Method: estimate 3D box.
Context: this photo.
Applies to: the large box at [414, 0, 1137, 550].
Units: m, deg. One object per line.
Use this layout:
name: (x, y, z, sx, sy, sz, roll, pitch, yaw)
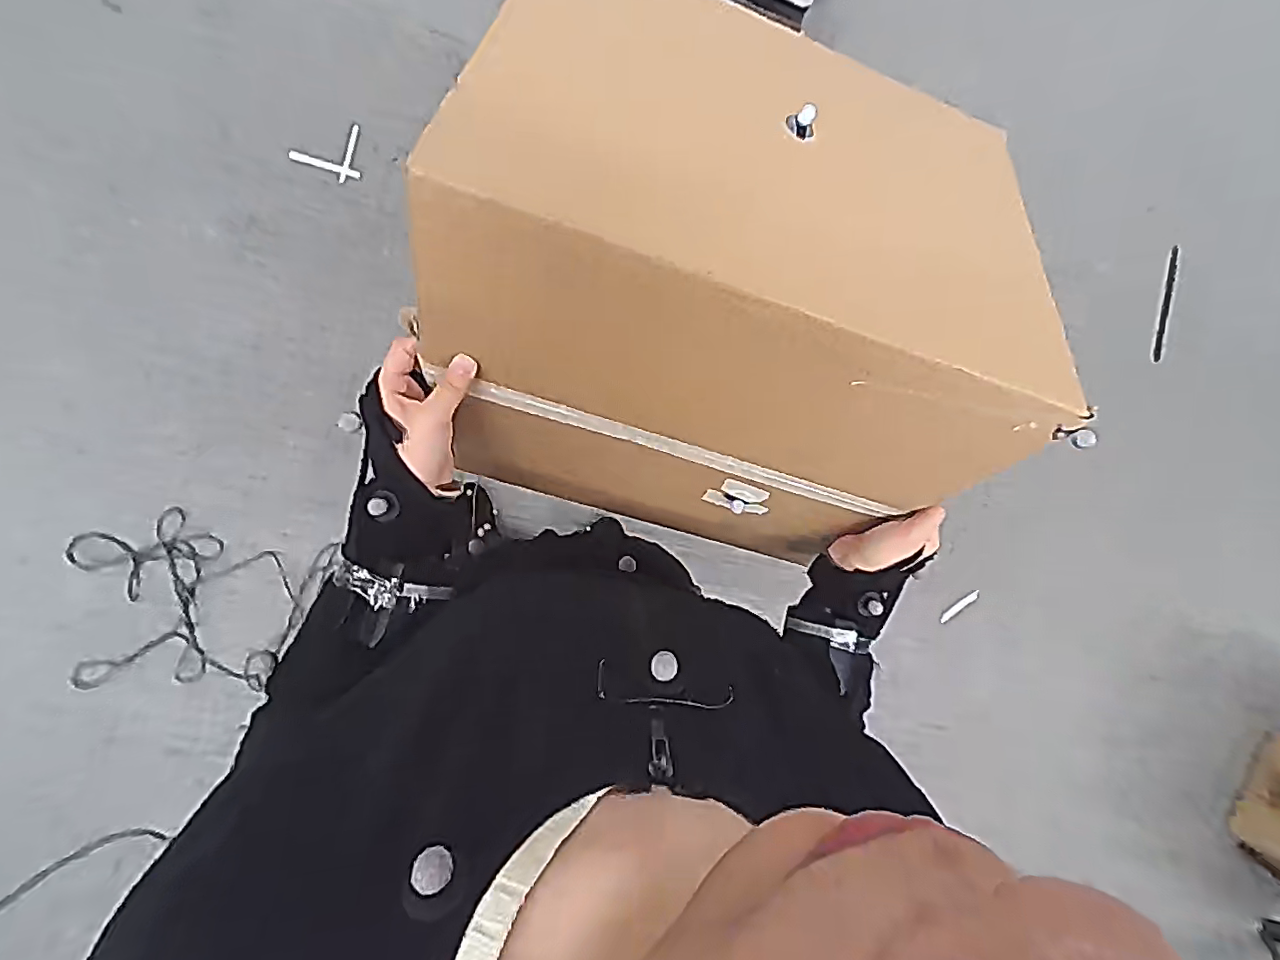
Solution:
large box: (0.070, -0.171, 0.468, 0.408, 0.320, 0.320, 15, 62, -10)
